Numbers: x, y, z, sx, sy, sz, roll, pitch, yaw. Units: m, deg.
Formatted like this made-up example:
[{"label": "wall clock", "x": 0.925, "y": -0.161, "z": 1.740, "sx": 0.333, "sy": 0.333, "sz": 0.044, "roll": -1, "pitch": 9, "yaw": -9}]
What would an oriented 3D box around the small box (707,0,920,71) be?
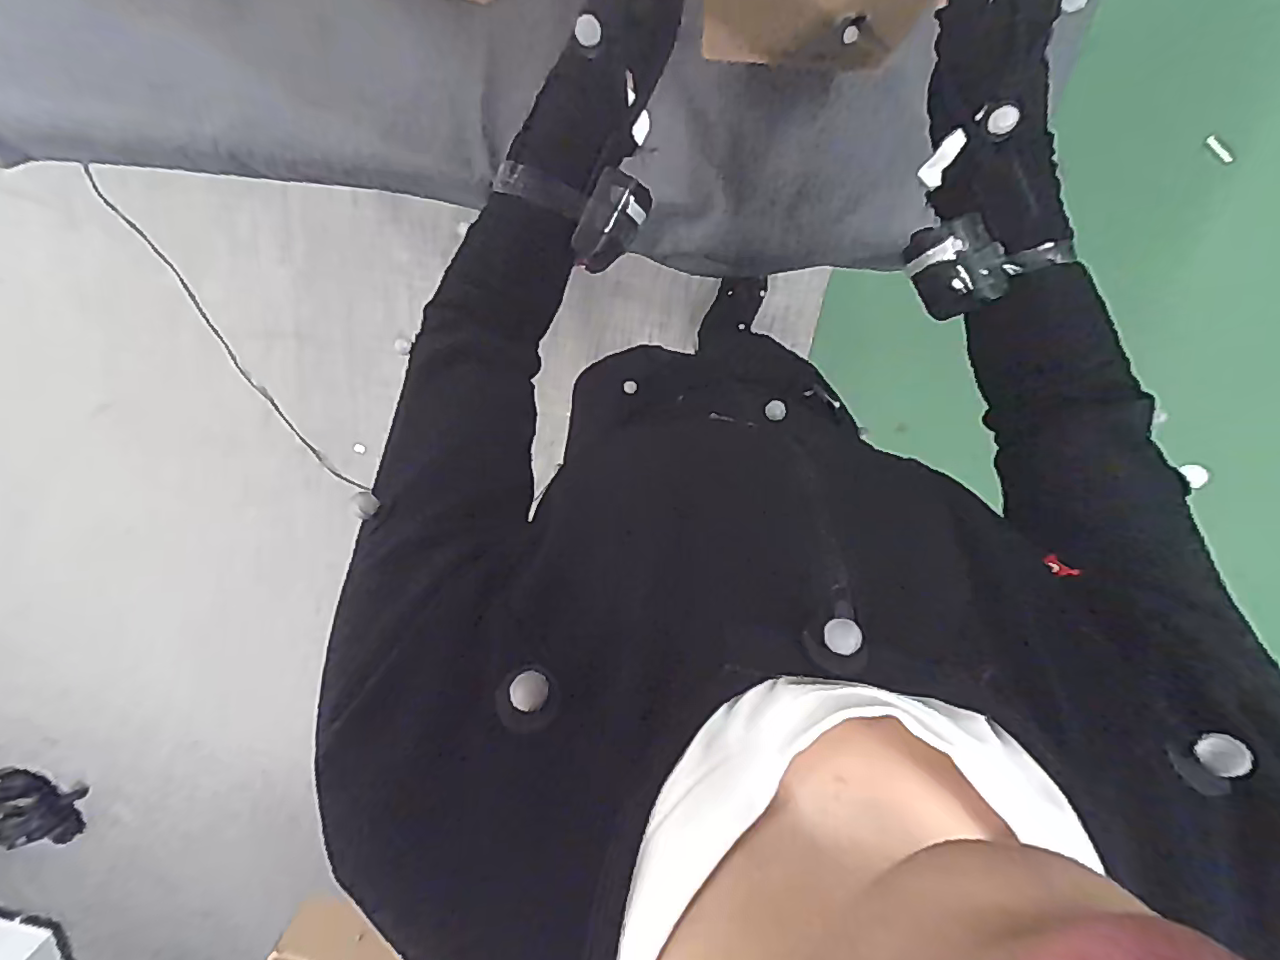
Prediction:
[{"label": "small box", "x": 0.144, "y": -0.448, "z": 0.409, "sx": 0.168, "sy": 0.176, "sz": 0.179, "roll": 8, "pitch": 106, "yaw": 3}]
